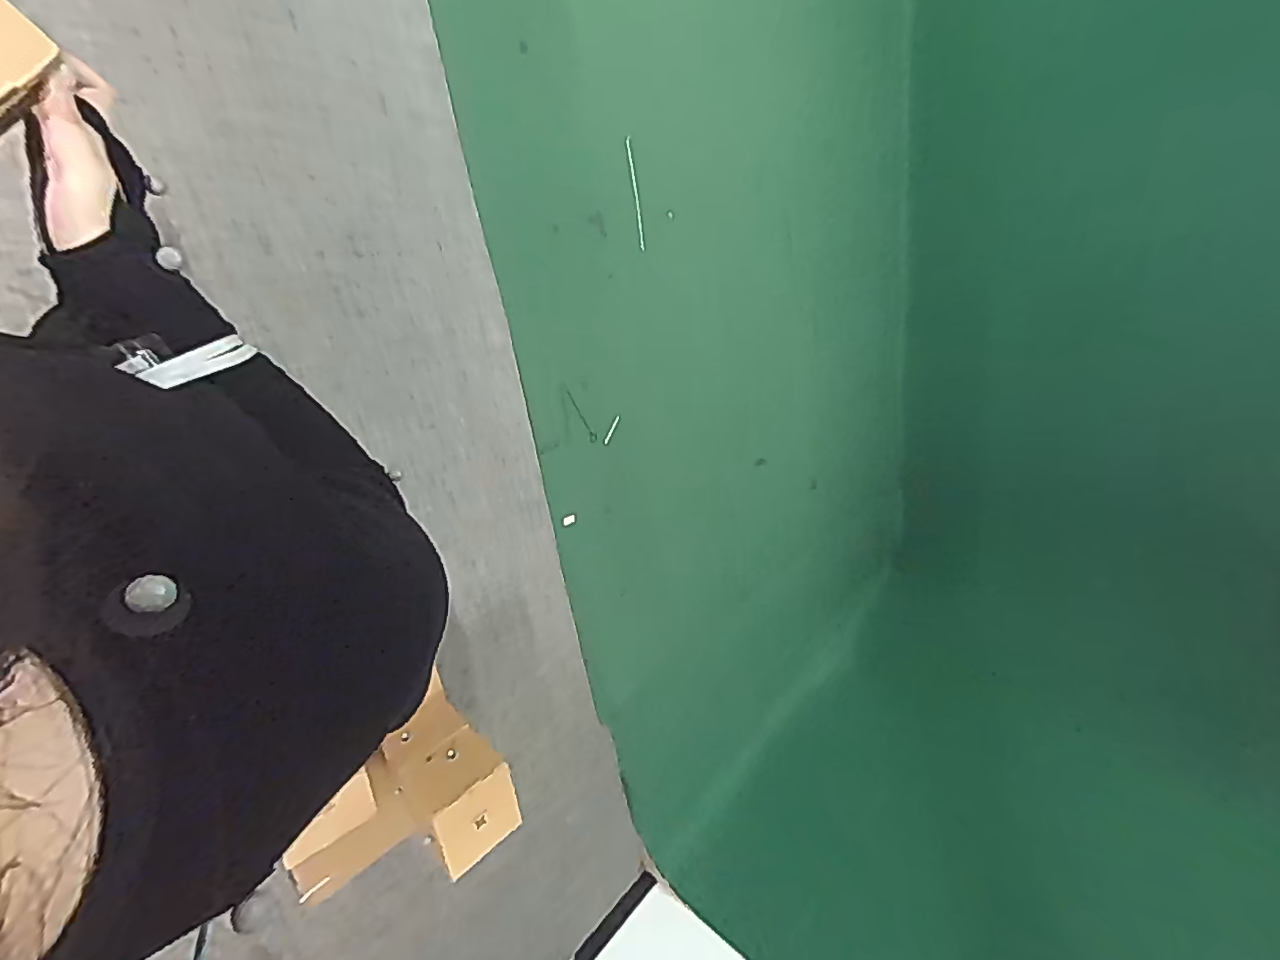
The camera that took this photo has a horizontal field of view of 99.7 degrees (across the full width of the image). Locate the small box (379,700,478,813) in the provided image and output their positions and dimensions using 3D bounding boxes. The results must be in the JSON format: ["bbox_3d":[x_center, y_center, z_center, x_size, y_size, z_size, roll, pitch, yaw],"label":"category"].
[{"bbox_3d":[-0.481,0.641,1.254,0.168,0.176,0.179,-23,116,-40],"label":"small box"}]

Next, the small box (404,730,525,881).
[{"bbox_3d":[-0.369,0.672,1.138,0.168,0.176,0.179,-23,113,-40],"label":"small box"}]
